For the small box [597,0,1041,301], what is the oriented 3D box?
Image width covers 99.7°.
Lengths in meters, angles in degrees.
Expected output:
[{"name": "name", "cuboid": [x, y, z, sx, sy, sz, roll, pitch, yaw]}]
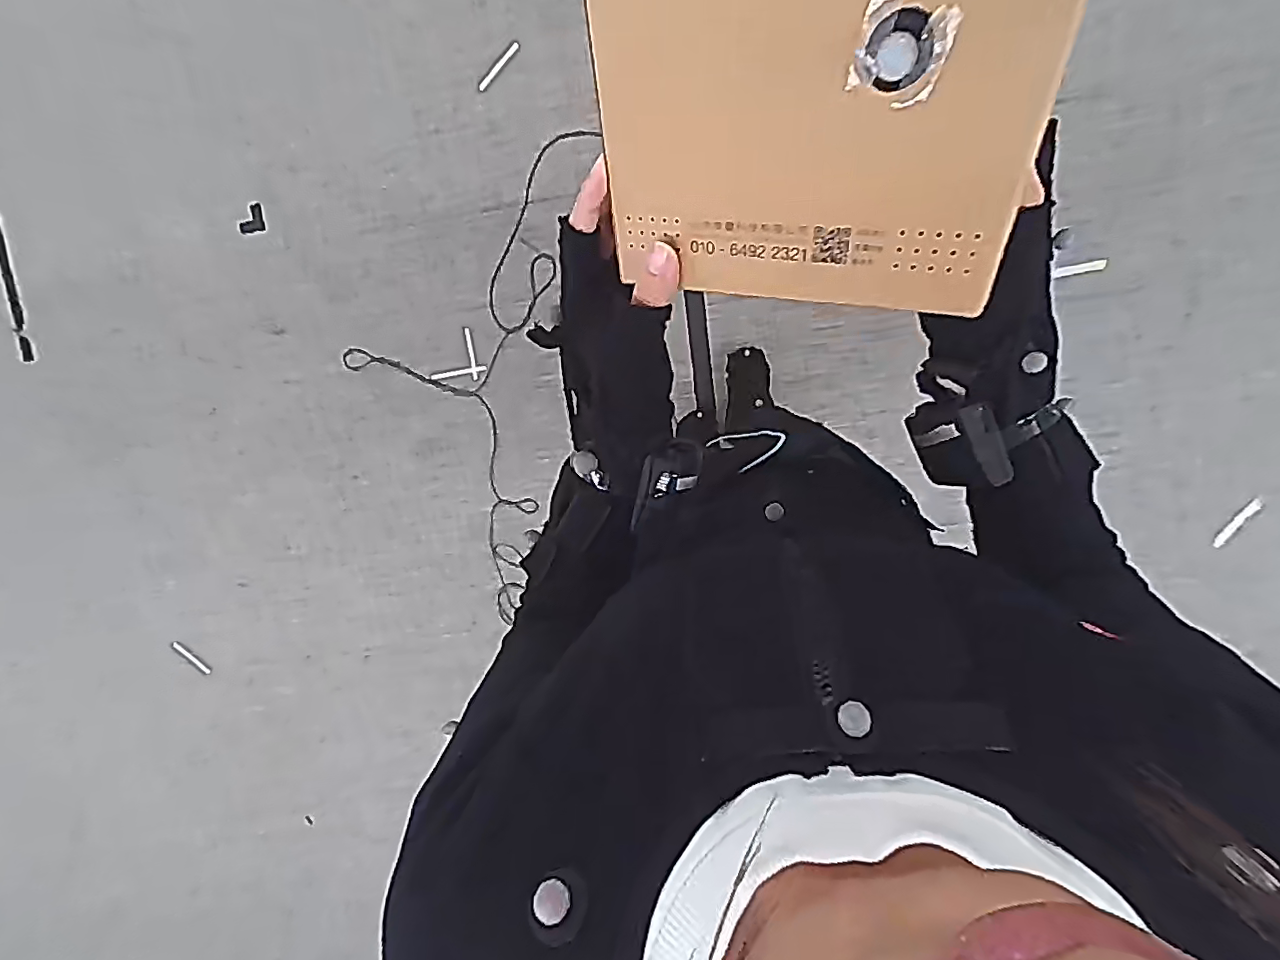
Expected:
[{"name": "small box", "cuboid": [0.094, -0.204, 0.267, 0.168, 0.179, 0.176, 15, 136, 23]}]
